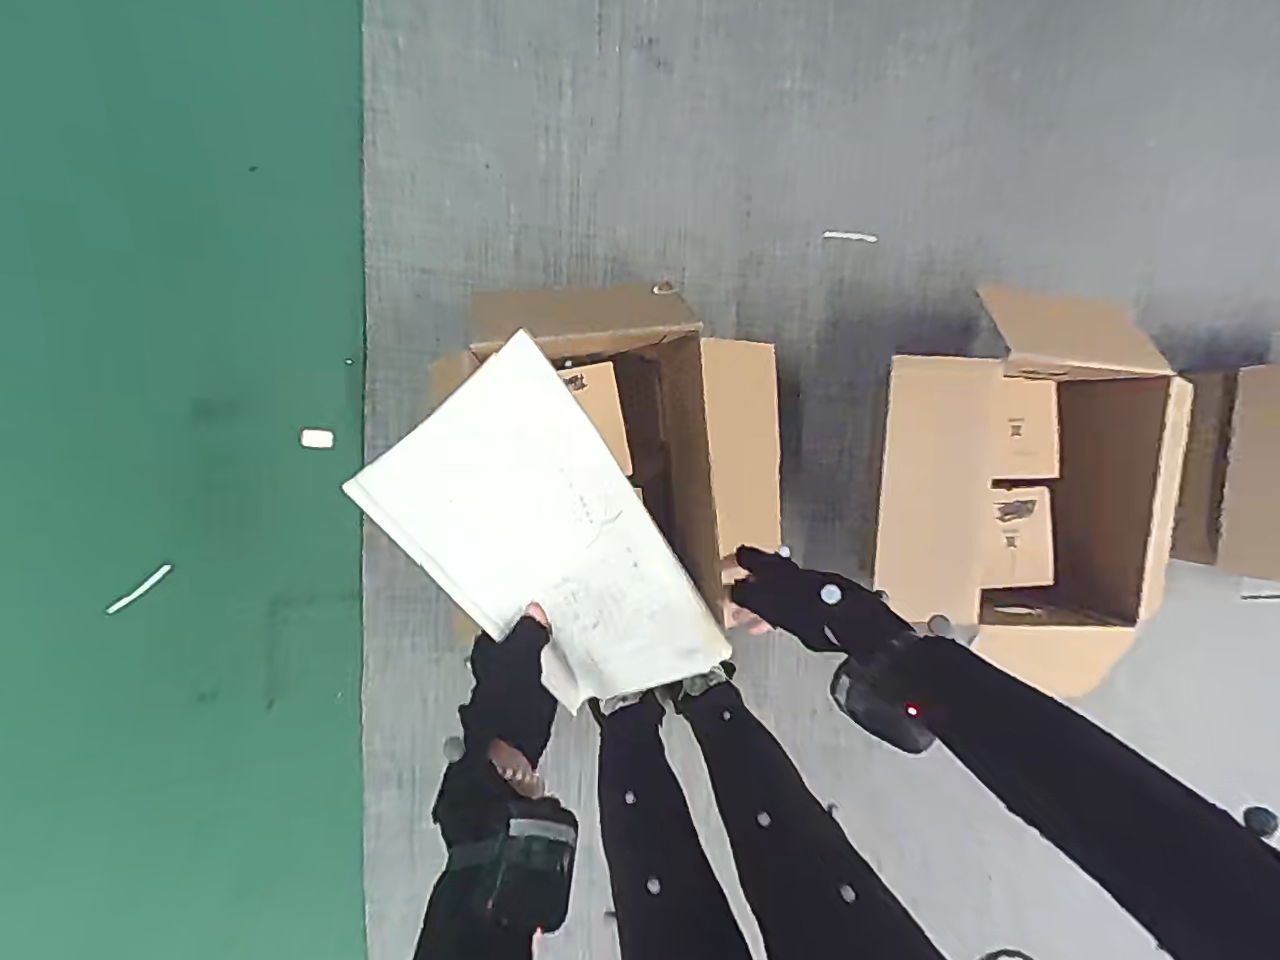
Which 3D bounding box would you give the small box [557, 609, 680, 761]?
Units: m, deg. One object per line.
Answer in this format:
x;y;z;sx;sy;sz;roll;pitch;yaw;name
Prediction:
-0.038;0.362;0.976;0.179;0.176;0.168;18;102;6;small box
